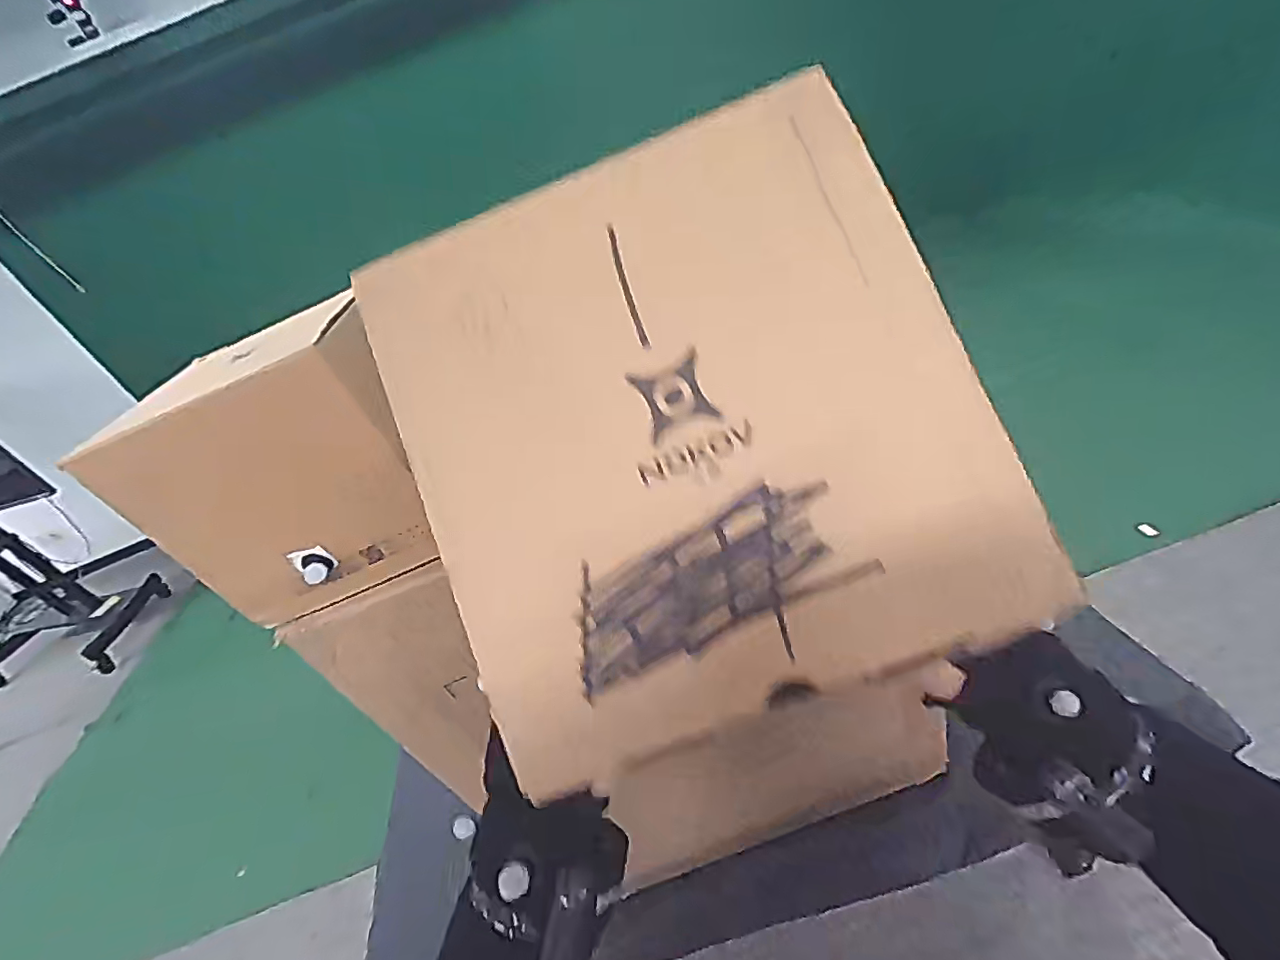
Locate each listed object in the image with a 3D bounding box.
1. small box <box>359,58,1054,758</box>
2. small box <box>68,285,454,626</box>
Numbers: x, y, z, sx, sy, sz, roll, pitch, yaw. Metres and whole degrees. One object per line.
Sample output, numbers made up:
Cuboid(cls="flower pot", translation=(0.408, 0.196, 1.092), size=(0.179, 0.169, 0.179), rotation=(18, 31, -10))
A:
Cuboid(cls="small box", translation=(0.019, -0.018, 0.244), size=(0.168, 0.179, 0.176), rotation=(-22, -8, 3))
Cuboid(cls="small box", translation=(-0.243, -0.024, 0.420), size=(0.168, 0.176, 0.179), rotation=(-25, 35, 0))
